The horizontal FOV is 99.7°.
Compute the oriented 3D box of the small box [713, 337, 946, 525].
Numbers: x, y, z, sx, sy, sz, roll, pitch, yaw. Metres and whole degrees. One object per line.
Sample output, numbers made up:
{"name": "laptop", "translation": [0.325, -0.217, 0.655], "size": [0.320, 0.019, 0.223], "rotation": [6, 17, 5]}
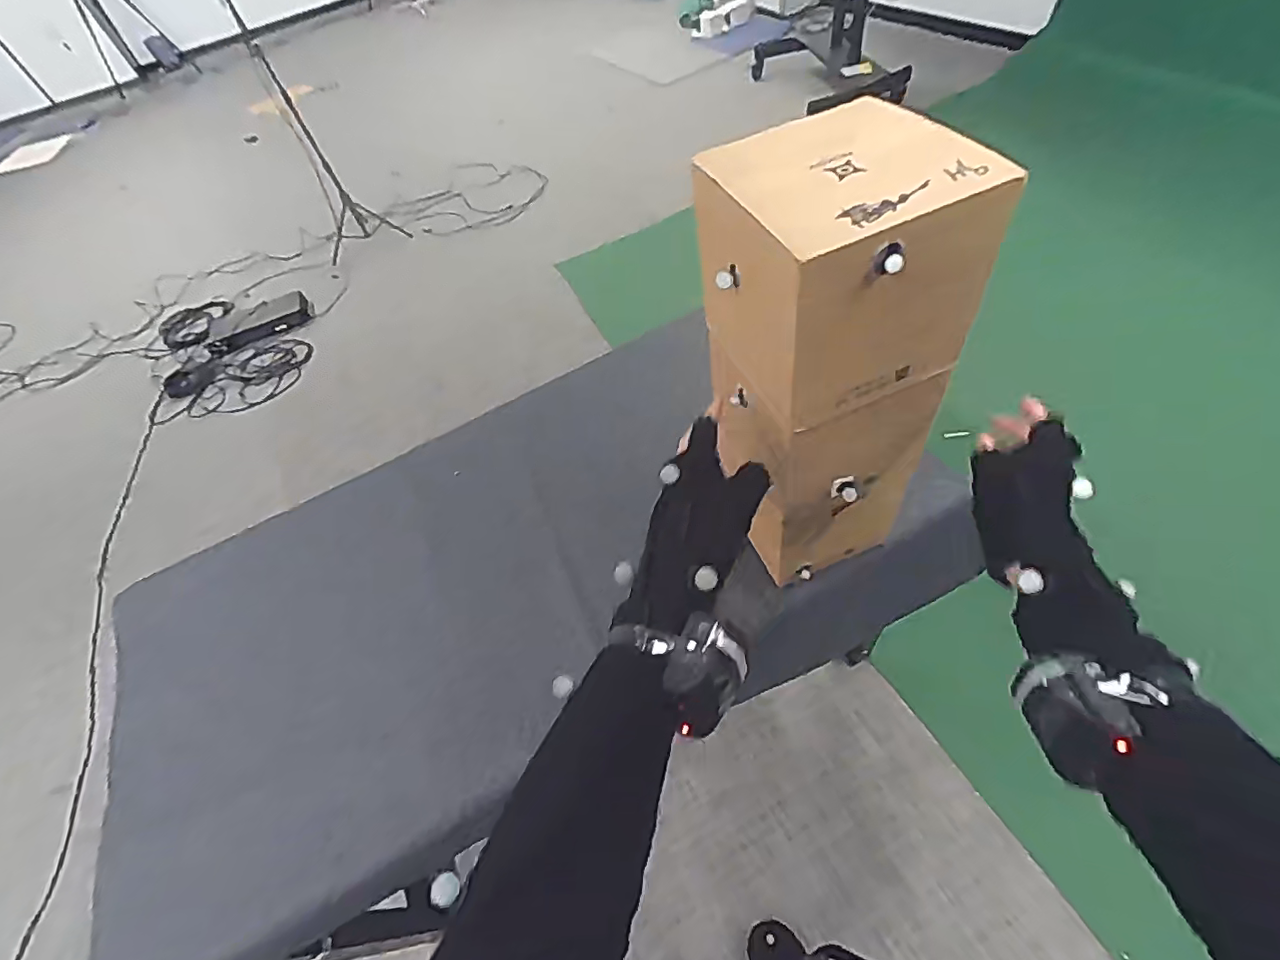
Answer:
{"name": "small box", "translation": [0.190, -0.082, 0.599], "size": [0.168, 0.176, 0.179], "rotation": [-21, 53, -3]}

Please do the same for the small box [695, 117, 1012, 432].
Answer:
{"name": "small box", "translation": [0.160, -0.174, 0.468], "size": [0.168, 0.176, 0.179], "rotation": [-22, 51, -4]}

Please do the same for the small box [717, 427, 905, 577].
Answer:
{"name": "small box", "translation": [0.219, 0.010, 0.730], "size": [0.168, 0.176, 0.179], "rotation": [-22, 51, -5]}
